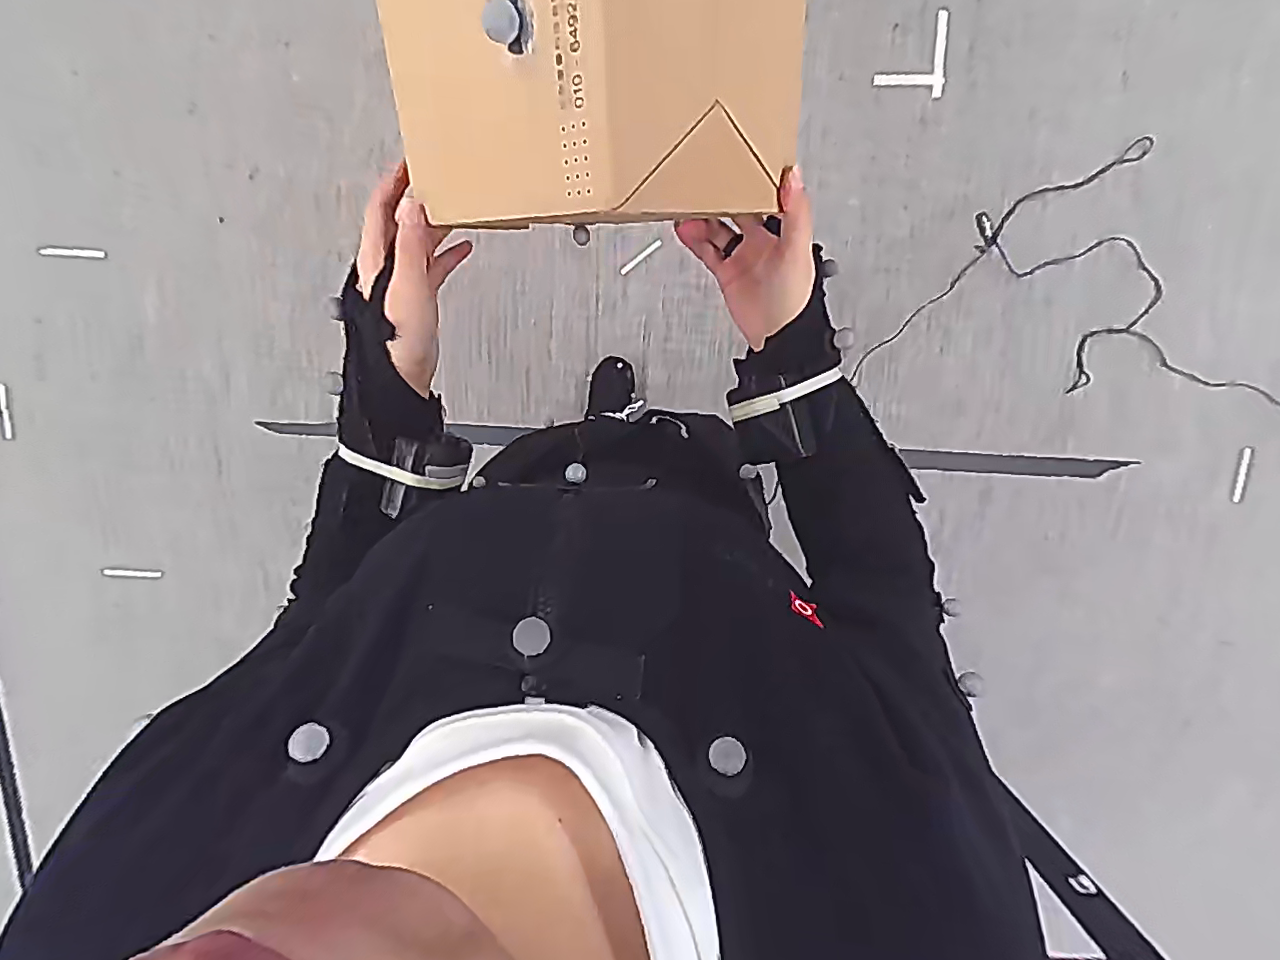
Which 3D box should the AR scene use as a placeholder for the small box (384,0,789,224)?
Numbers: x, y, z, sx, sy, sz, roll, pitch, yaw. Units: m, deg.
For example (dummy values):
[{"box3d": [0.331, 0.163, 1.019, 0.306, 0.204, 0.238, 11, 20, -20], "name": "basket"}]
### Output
[{"box3d": [-0.022, -0.245, 0.318, 0.176, 0.179, 0.168, 17, 120, 37], "name": "small box"}]
